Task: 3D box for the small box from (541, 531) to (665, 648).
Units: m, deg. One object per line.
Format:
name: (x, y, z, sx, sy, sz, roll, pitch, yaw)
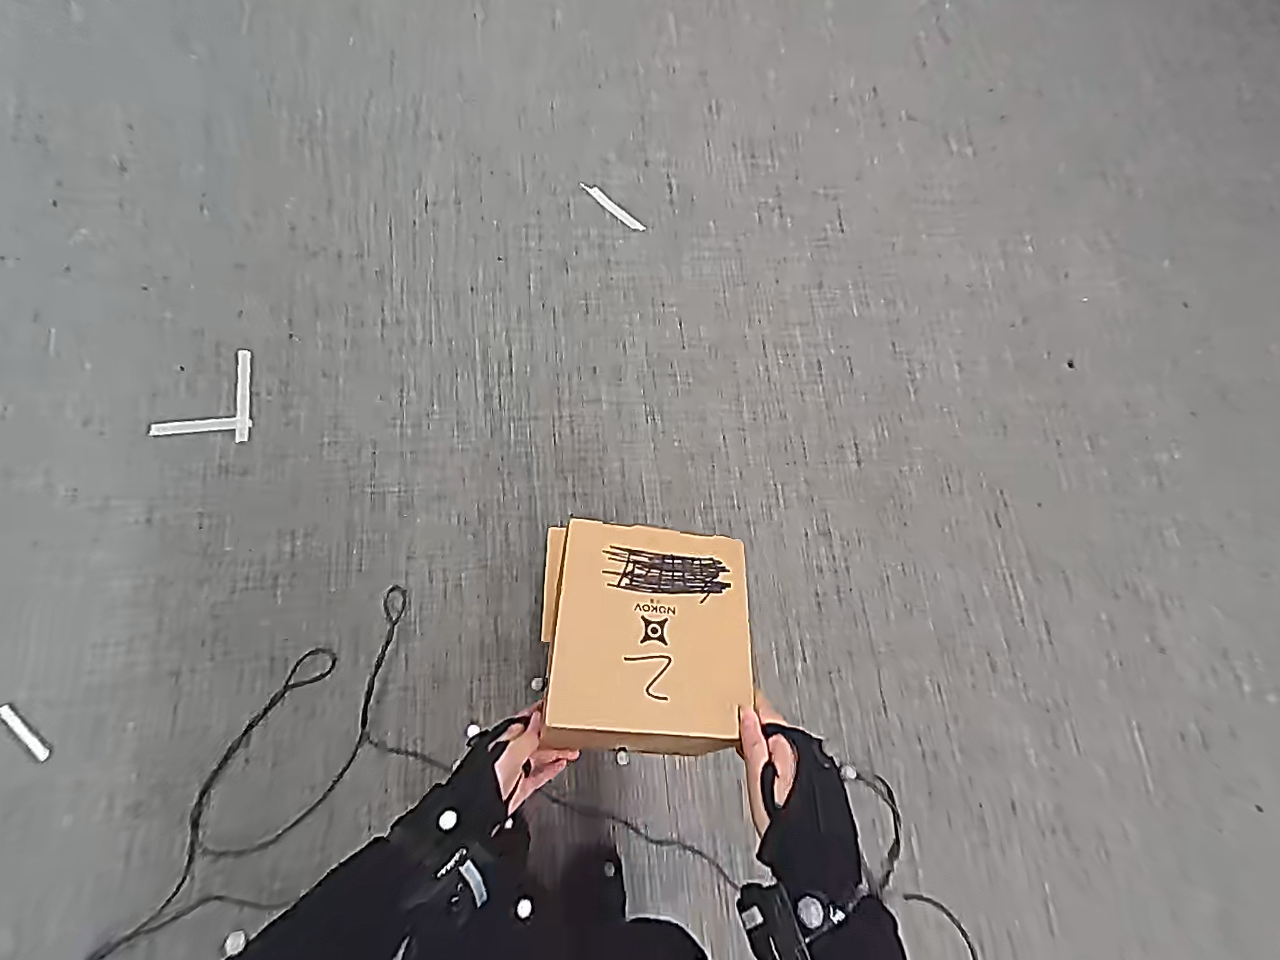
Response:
small box: (-0.058, 0.178, 0.862, 0.179, 0.176, 0.168, 3, 75, -6)
